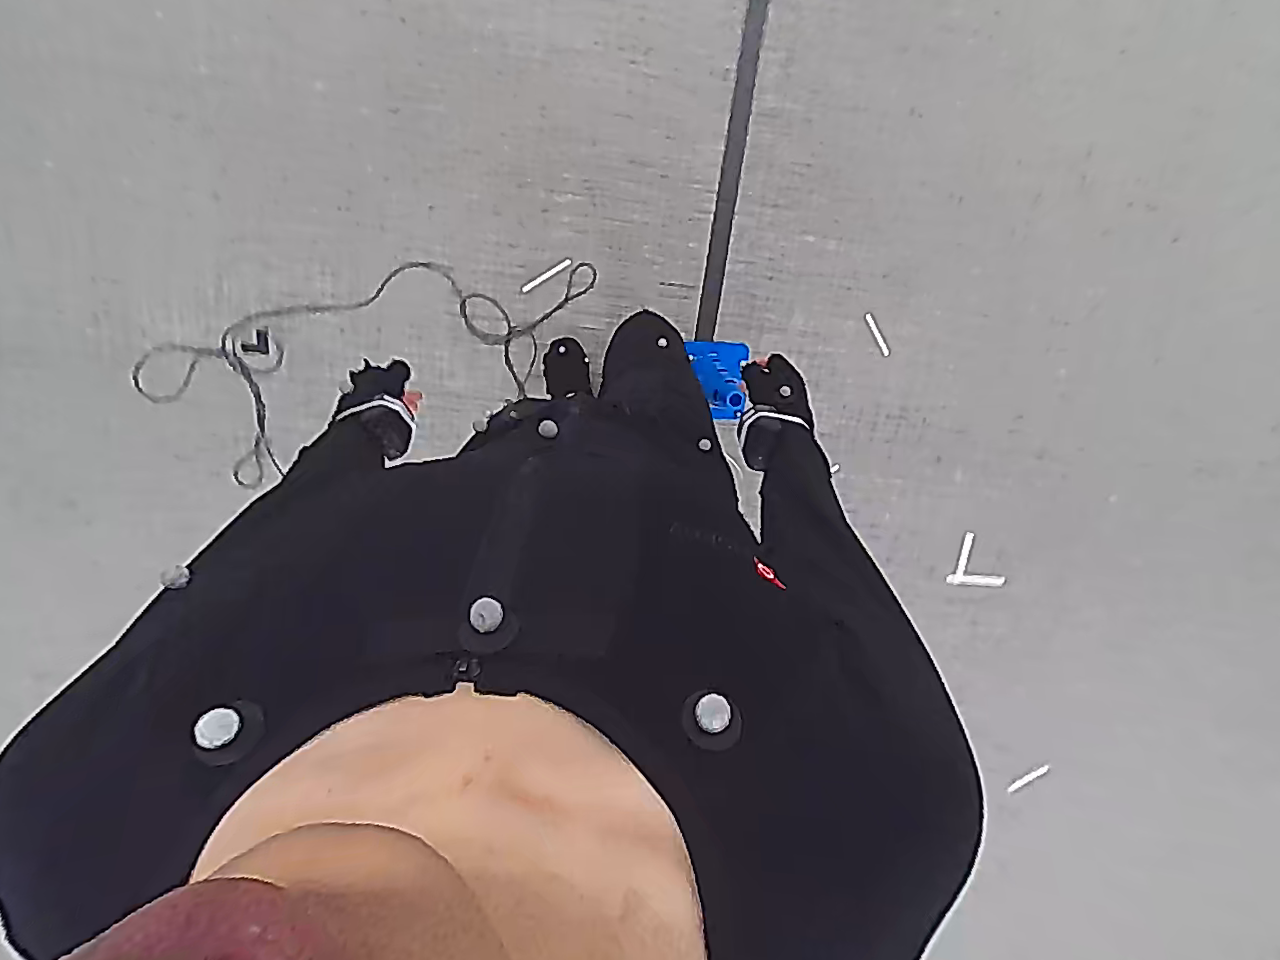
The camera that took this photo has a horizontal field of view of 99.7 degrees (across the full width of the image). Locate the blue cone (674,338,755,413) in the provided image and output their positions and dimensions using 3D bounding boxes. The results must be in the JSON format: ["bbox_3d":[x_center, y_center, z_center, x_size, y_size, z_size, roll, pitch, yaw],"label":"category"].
[{"bbox_3d":[0.193,-0.226,1.255,0.192,0.380,0.193,2,106,-4],"label":"blue cone"}]
